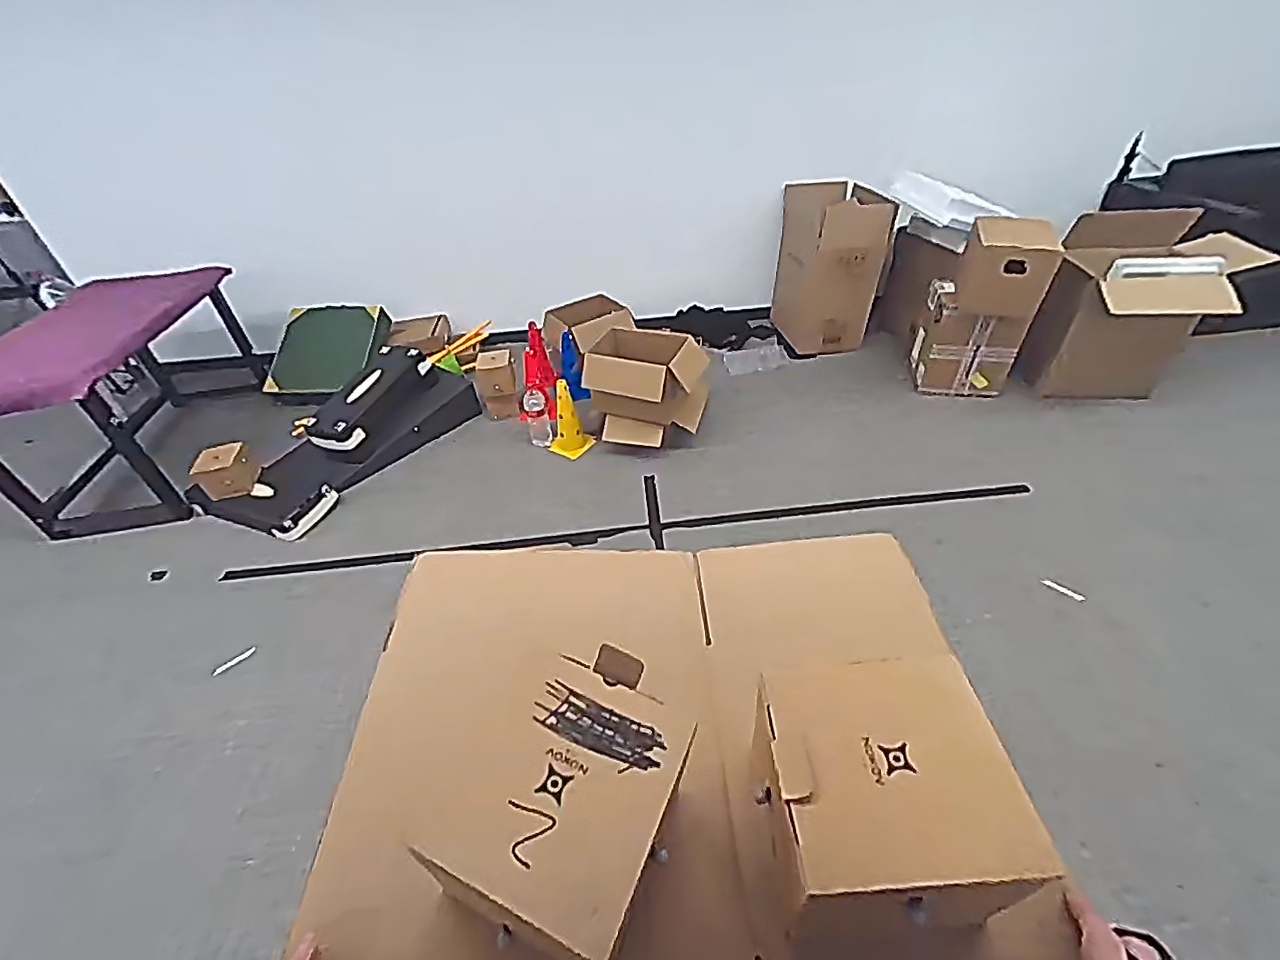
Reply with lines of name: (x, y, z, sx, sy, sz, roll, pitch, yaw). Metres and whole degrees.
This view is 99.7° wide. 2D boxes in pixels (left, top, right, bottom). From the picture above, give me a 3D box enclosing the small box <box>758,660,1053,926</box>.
small box: (0.211, 0.286, 0.494, 0.179, 0.176, 0.168, -7, 43, 3)
